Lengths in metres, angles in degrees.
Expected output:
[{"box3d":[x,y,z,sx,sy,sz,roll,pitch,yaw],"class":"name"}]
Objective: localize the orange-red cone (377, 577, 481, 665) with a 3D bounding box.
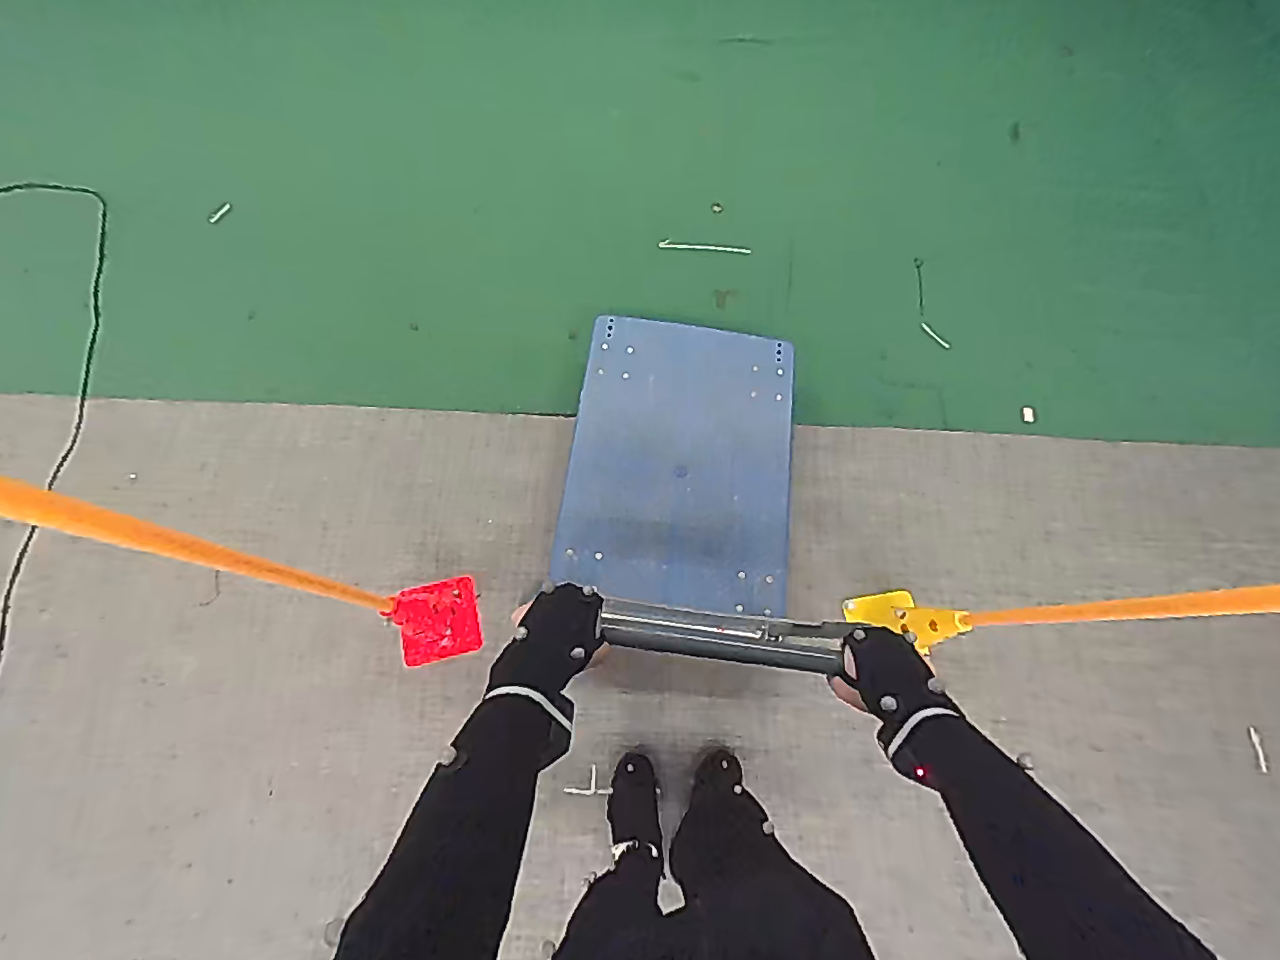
[{"box3d":[-0.512,0.307,1.236,0.199,0.360,0.198,-12,72,-6],"class":"orange-red cone"}]
